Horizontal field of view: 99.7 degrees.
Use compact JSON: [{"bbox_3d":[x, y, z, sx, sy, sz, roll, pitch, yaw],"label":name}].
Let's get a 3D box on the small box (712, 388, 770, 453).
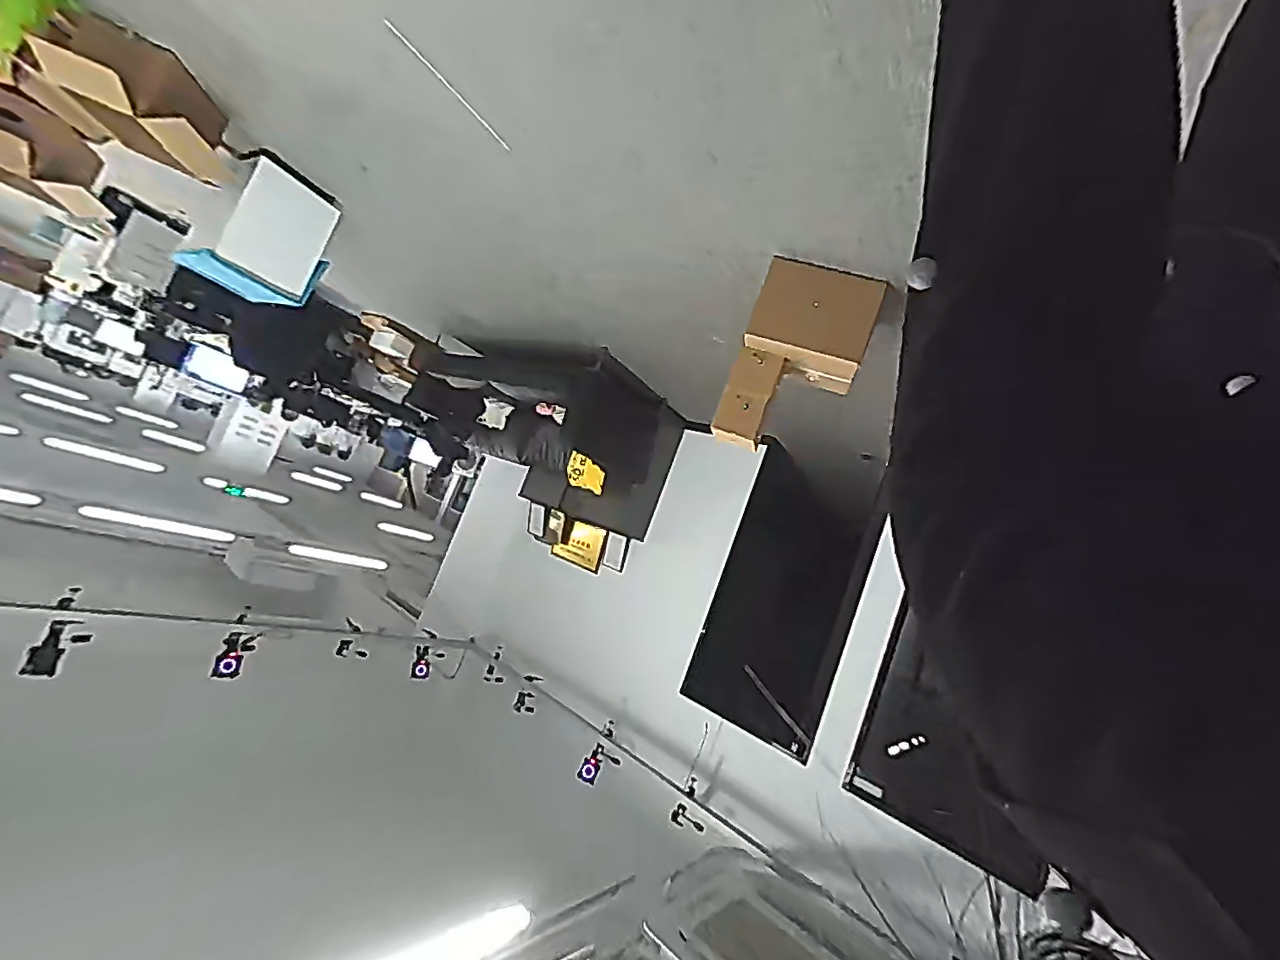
[{"bbox_3d":[0.382,-0.222,2.018,0.168,0.176,0.179,19,173,18],"label":"small box"}]
